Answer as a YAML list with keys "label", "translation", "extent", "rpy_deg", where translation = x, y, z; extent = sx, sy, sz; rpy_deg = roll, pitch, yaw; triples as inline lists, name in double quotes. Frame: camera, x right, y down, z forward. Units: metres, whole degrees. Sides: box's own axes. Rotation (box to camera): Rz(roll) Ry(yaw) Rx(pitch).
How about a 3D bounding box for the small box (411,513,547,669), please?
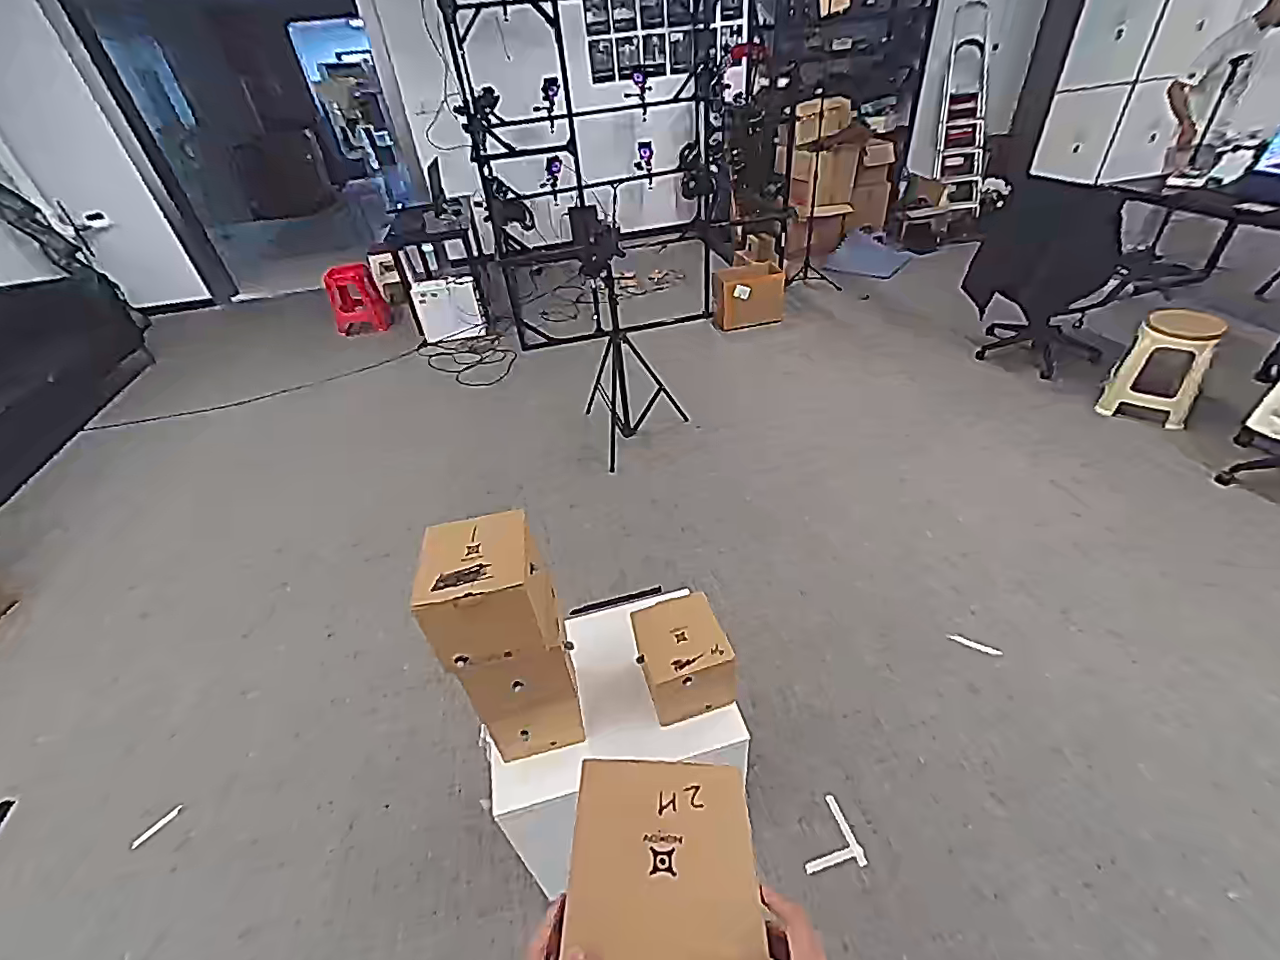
- label: "small box"
  translation: [-0.248, 0.184, 0.876]
  extent: [0.168, 0.176, 0.179]
  rpy_deg: [-11, 38, -5]

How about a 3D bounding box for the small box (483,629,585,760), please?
- label: "small box"
  translation: [-0.212, 0.435, 1.086]
  extent: [0.168, 0.176, 0.179]
  rpy_deg: [-12, 38, -8]

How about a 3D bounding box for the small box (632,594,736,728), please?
- label: "small box"
  translation: [0.089, 0.372, 1.116]
  extent: [0.168, 0.176, 0.179]
  rpy_deg: [-15, 39, -9]

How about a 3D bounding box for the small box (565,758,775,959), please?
- label: "small box"
  translation: [0.023, 0.404, 0.519]
  extent: [0.168, 0.176, 0.179]
  rpy_deg: [4, 28, 0]
